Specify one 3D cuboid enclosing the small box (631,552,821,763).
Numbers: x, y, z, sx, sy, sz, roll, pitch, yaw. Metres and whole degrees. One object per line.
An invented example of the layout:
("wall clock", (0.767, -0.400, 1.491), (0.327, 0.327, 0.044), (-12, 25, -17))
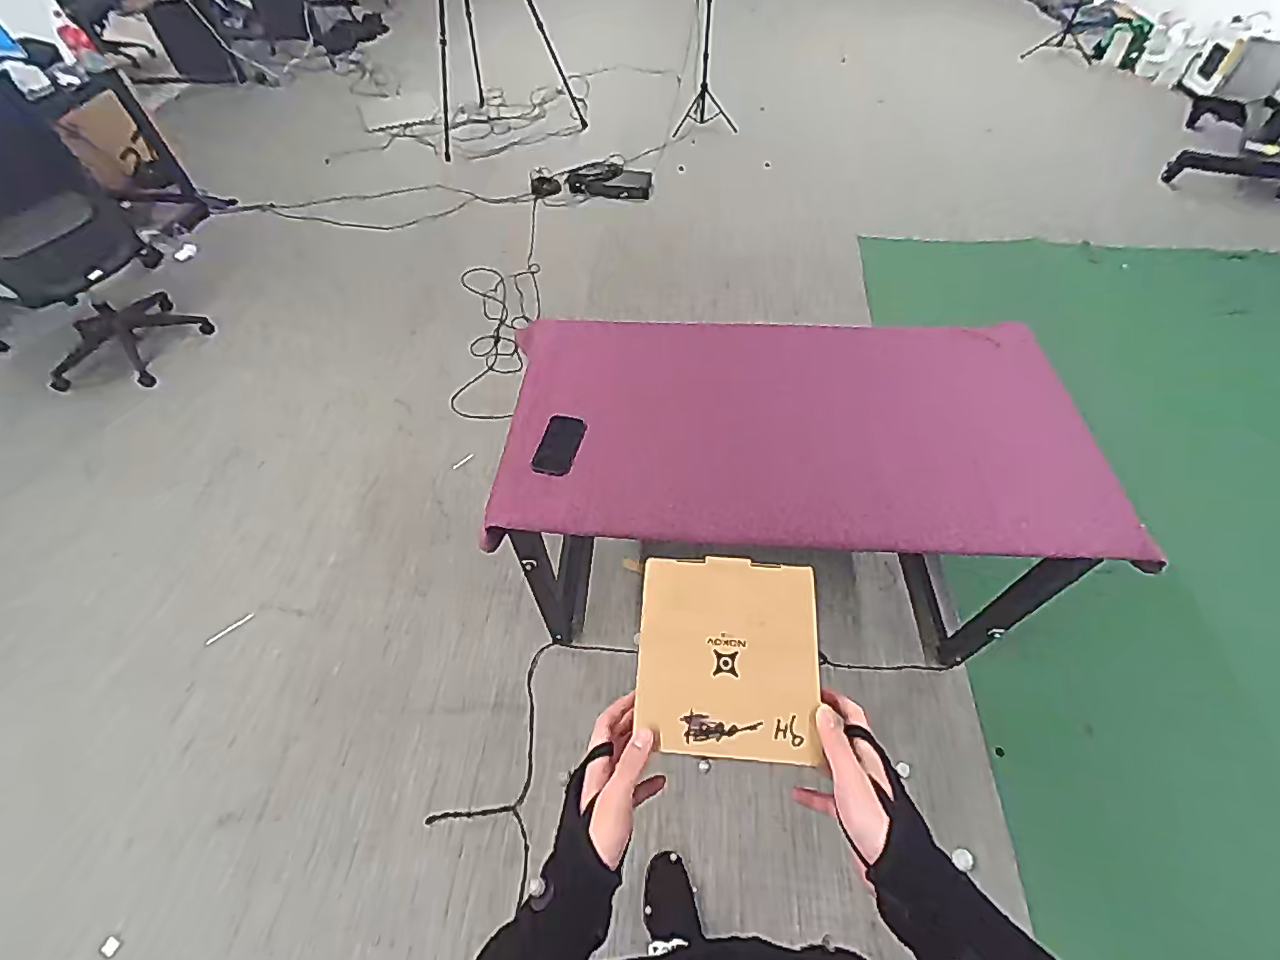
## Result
("small box", (0.086, 0.188, 0.570), (0.168, 0.176, 0.179), (2, 66, 7))
